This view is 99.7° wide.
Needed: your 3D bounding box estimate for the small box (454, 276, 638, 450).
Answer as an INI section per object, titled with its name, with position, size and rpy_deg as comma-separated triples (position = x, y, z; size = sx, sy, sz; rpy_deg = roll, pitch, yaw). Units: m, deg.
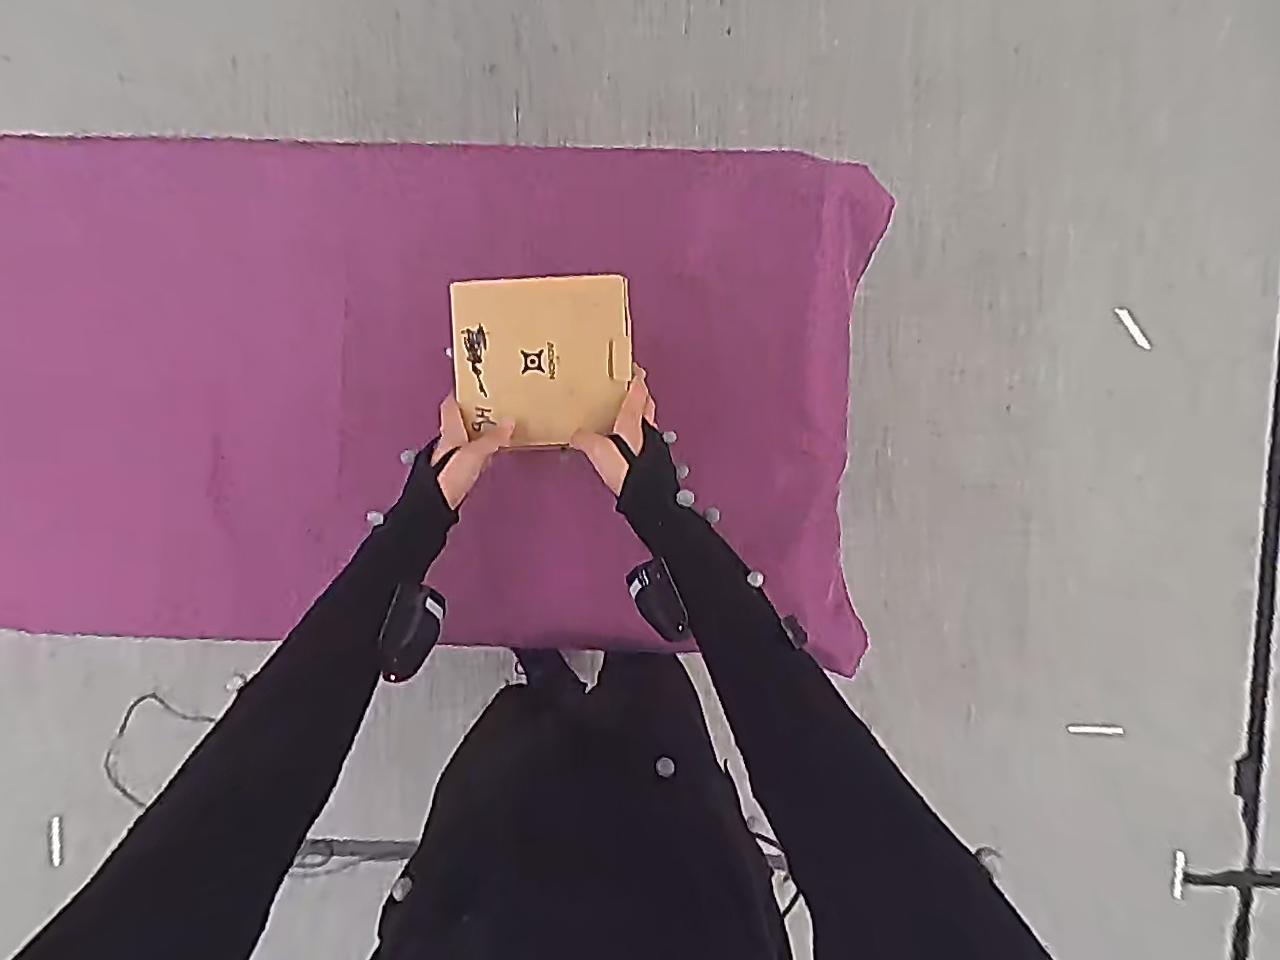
[small box]
position = -0.094, -0.119, 0.607
size = 0.179, 0.176, 0.168
rpy_deg = -2, 92, 0
